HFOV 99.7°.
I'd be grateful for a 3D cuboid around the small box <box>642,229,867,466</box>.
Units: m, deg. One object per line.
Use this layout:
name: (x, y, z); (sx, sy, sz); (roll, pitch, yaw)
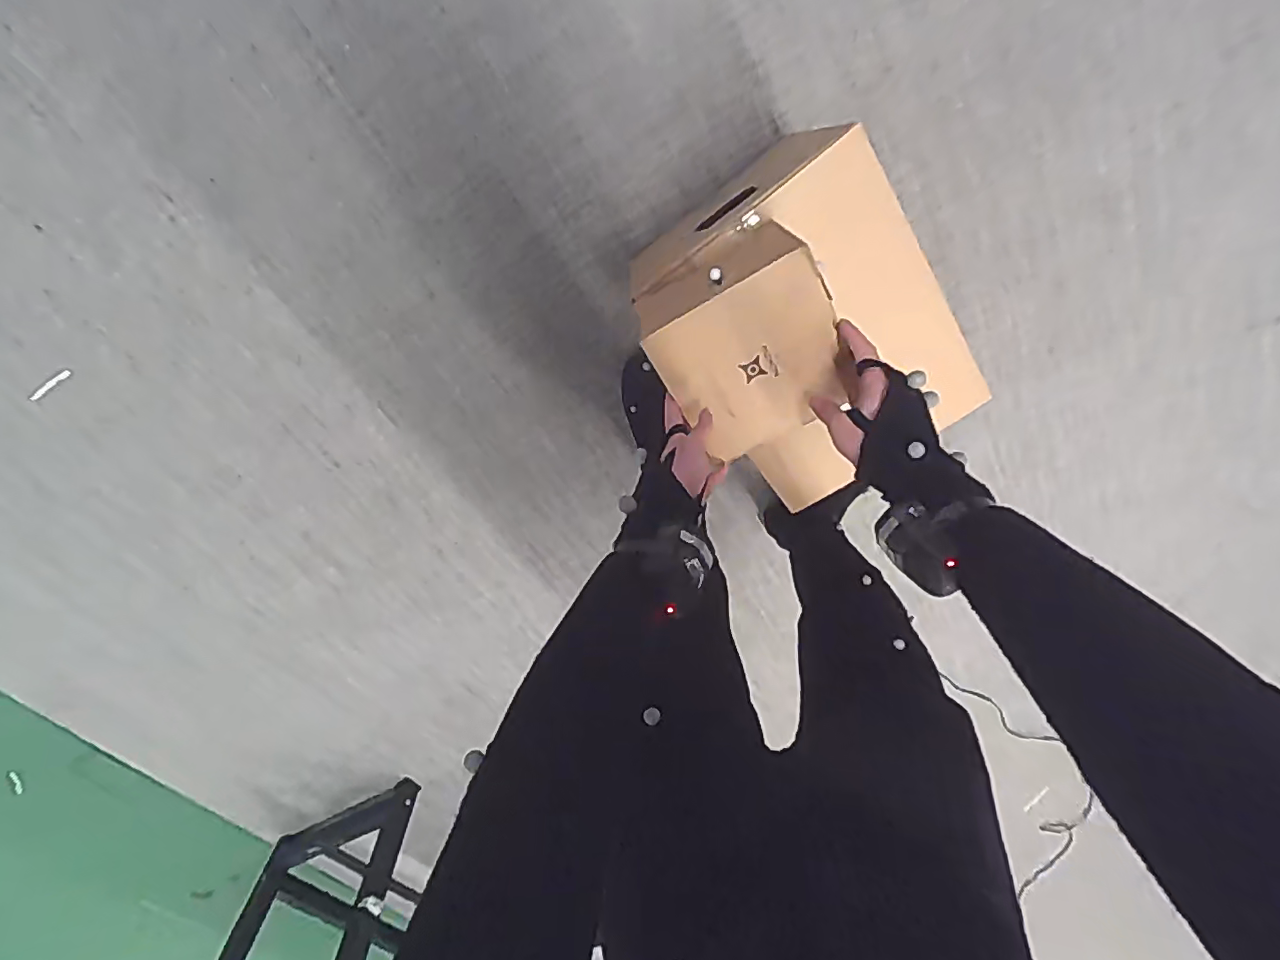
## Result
small box: (0.118, -0.152, 0.601); (0.179, 0.176, 0.168); (-27, 117, 19)
